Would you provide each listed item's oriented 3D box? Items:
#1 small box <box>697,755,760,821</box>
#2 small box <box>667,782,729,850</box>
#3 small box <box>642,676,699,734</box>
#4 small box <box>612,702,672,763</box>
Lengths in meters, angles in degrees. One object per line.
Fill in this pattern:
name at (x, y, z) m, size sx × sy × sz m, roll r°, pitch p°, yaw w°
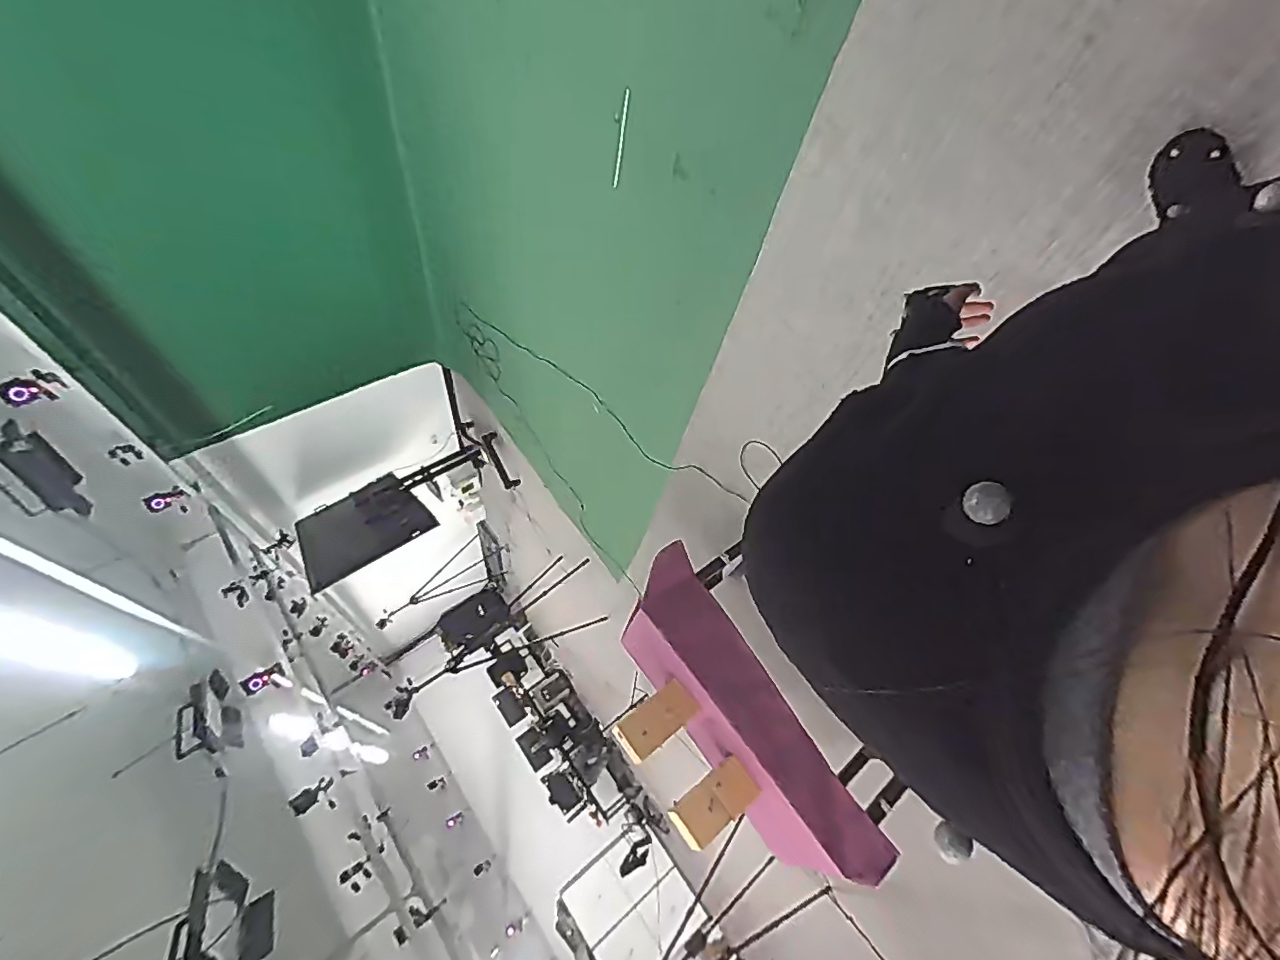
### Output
small box at (0.370, 1.283, 2.255) m, size 0.179 × 0.176 × 0.168 m, roll 51°, pitch 153°, yaw 20°
small box at (0.236, 1.355, 2.190) m, size 0.168 × 0.176 × 0.179 m, roll 50°, pitch 153°, yaw 19°
small box at (0.133, 0.993, 2.371) m, size 0.179 × 0.176 × 0.168 m, roll 51°, pitch 153°, yaw 18°
small box at (0.005, 1.069, 2.301) m, size 0.179 × 0.176 × 0.168 m, roll 50°, pitch 152°, yaw 18°
